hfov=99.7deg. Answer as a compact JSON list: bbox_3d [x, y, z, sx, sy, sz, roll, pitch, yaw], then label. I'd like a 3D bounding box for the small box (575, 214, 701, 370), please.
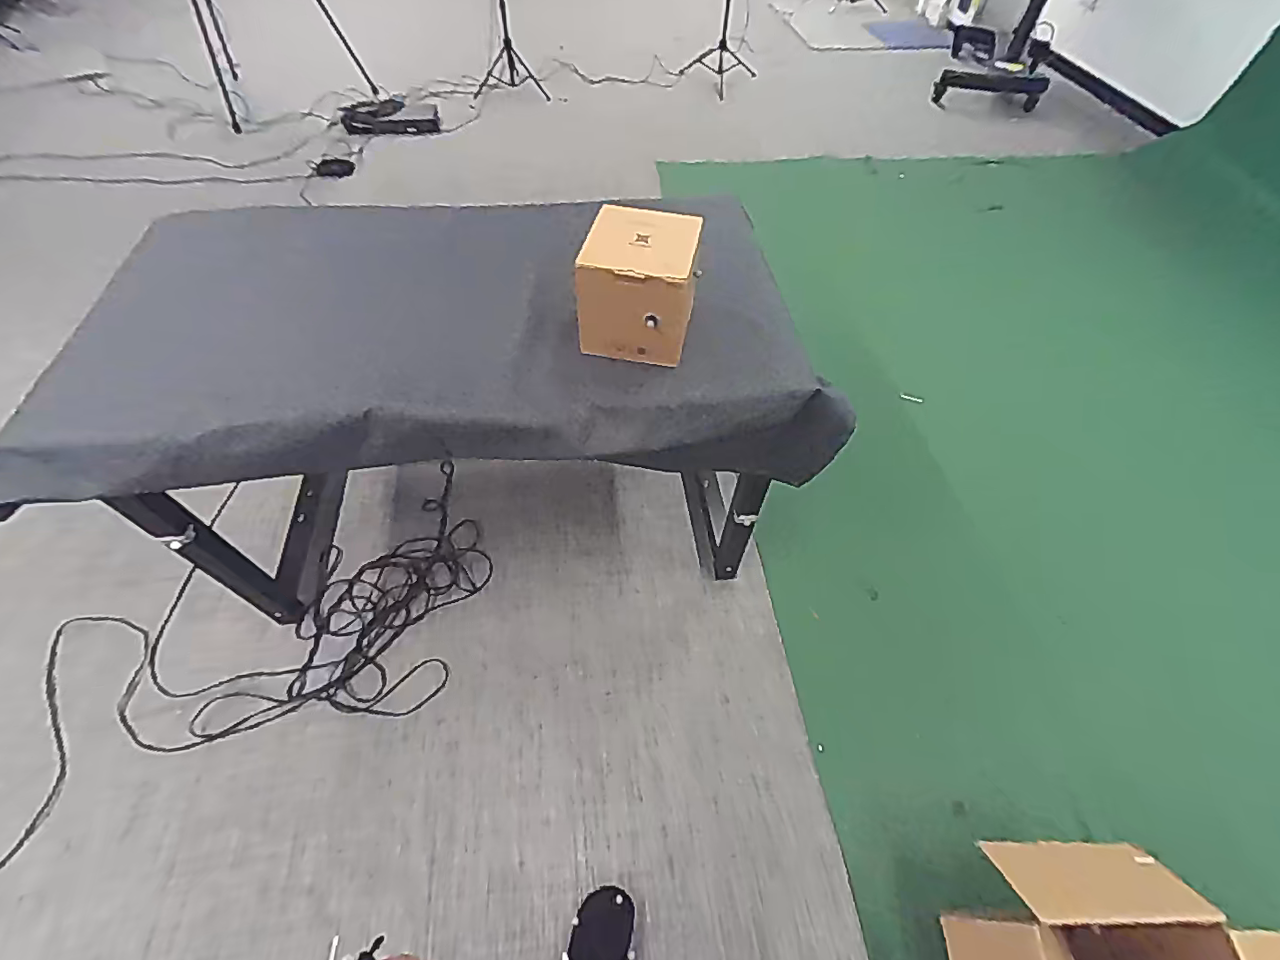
[{"bbox_3d":[0.000,-0.303,0.884,0.168,0.176,0.179,10,53,5],"label":"small box"}]
